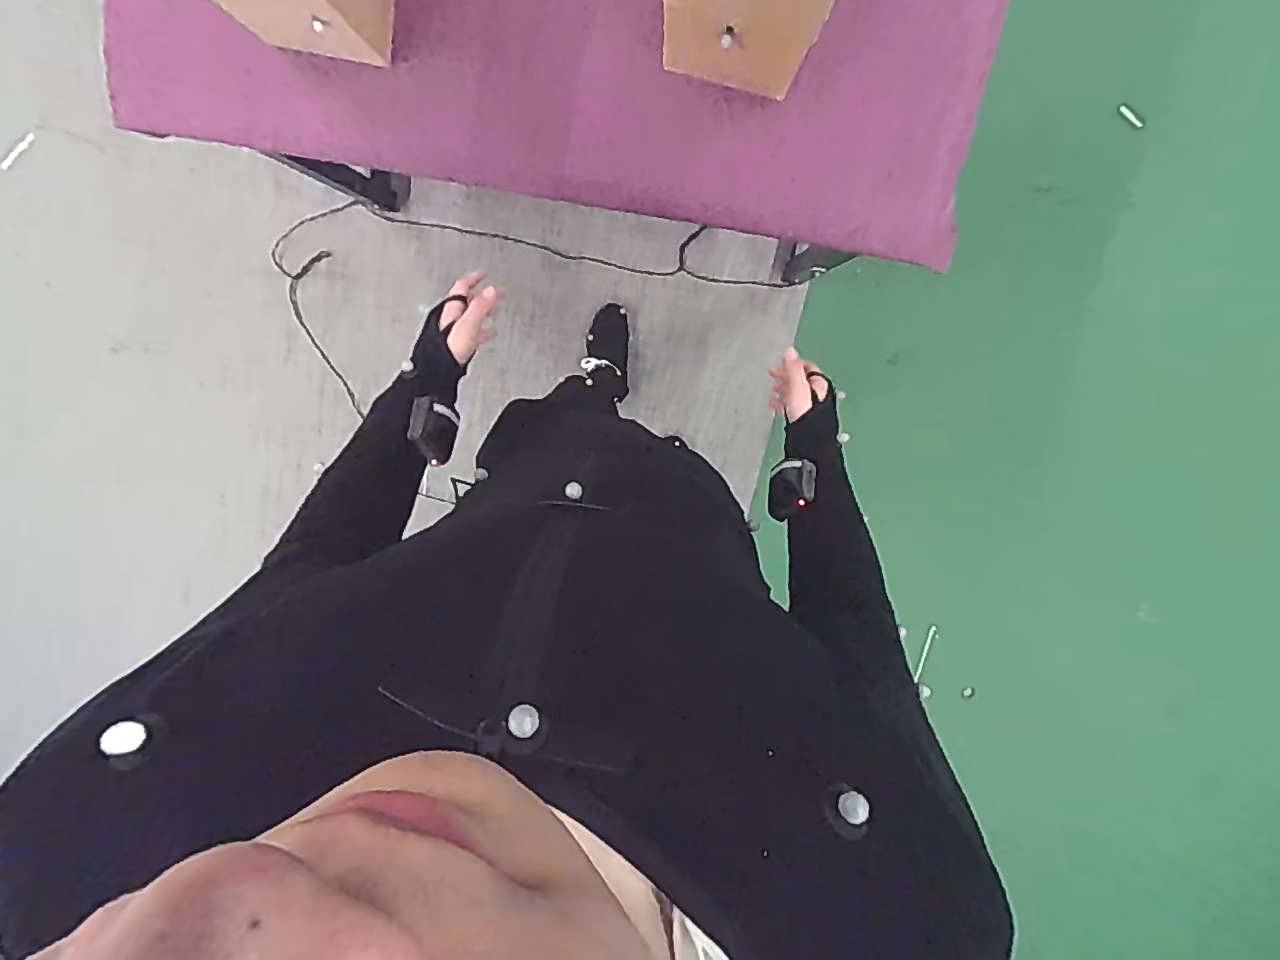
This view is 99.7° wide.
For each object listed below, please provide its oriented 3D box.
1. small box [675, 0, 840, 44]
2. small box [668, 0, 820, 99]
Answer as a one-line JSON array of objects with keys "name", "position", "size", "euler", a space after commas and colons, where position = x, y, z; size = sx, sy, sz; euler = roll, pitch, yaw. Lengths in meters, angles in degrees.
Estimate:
[{"name": "small box", "position": [0.131, -0.553, 0.500], "size": [0.179, 0.176, 0.168], "euler": [15, 104, -1]}, {"name": "small box", "position": [0.138, -0.602, 0.657], "size": [0.179, 0.176, 0.168], "euler": [15, 104, -1]}]
